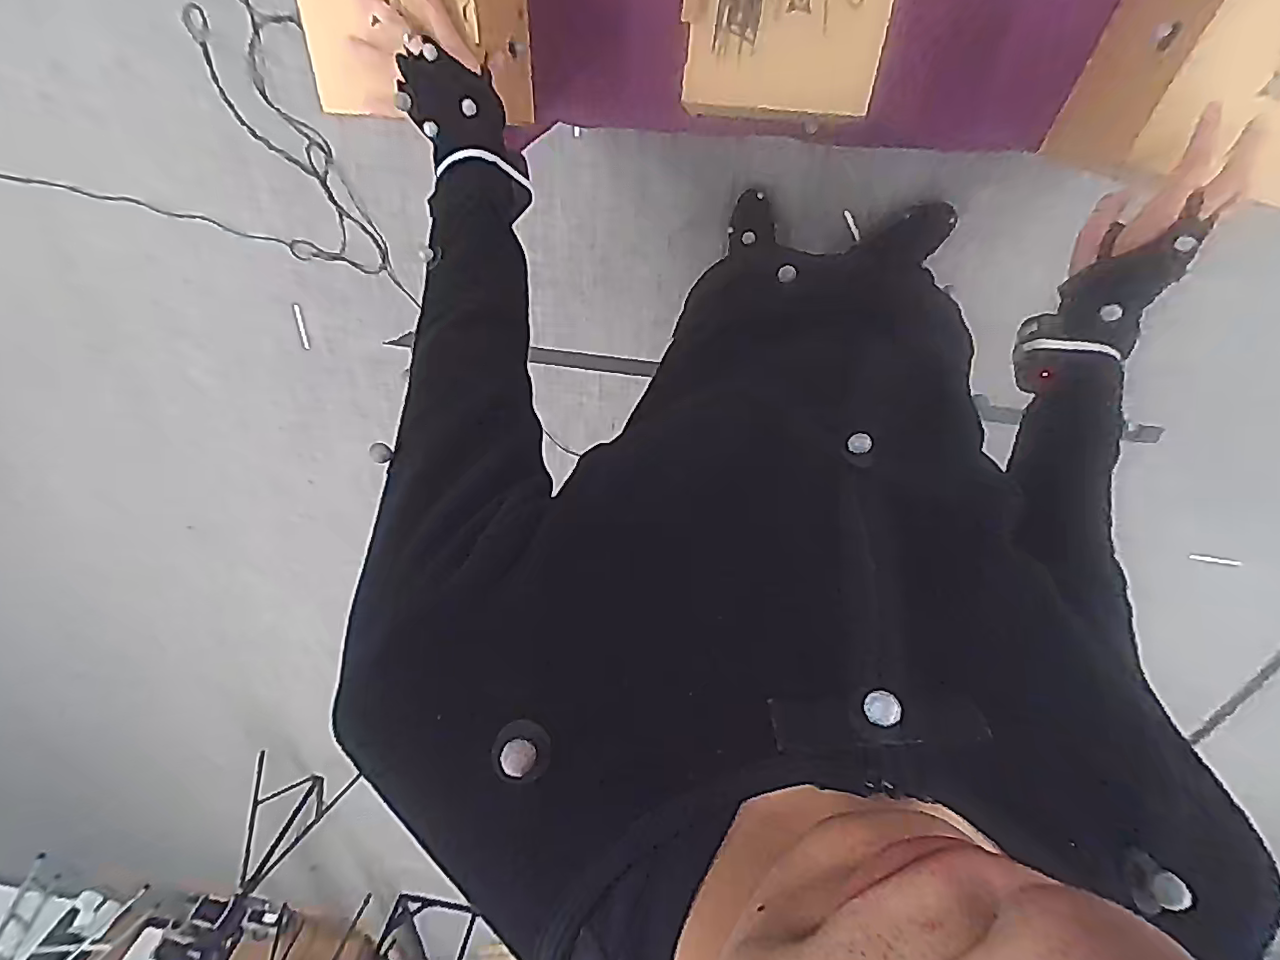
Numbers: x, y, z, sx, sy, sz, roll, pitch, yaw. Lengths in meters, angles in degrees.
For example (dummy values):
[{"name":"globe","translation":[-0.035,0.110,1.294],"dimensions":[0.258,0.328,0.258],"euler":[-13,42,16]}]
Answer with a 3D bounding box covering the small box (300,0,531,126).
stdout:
[{"name":"small box","translation":[-0.229,-0.482,0.578],"dimensions":[0.179,0.176,0.168],"euler":[5,122,5]}]
